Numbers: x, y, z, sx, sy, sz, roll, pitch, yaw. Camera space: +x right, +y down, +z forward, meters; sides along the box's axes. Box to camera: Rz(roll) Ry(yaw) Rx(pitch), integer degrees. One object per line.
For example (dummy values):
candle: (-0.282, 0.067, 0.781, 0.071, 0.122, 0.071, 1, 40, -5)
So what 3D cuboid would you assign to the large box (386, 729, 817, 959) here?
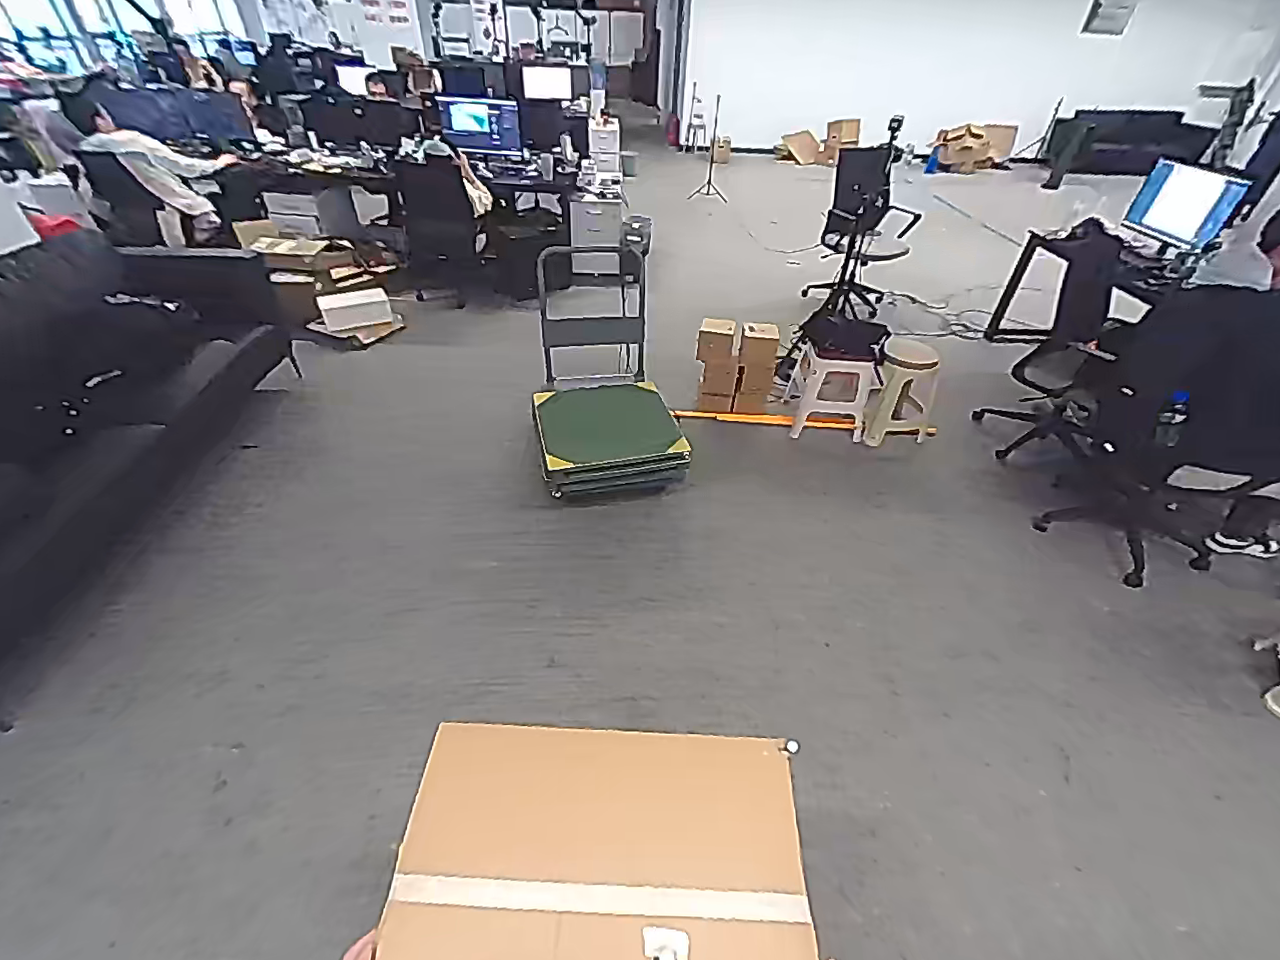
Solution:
large box: (-0.037, 0.511, 0.634, 0.408, 0.320, 0.320, 2, 46, 1)
